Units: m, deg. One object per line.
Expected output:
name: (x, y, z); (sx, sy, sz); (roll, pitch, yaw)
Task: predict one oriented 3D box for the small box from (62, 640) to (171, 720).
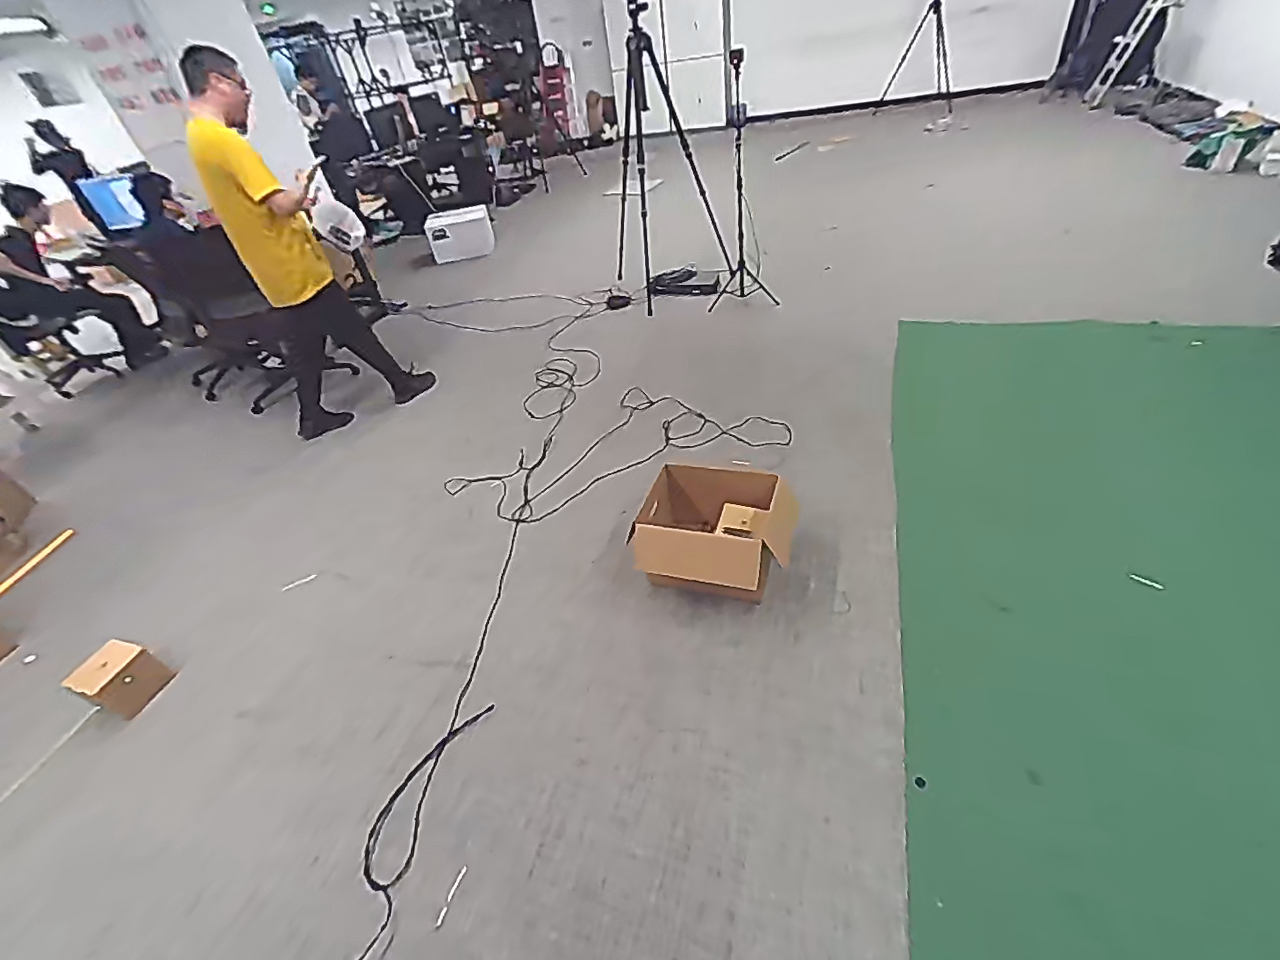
small box: (-1.734, 0.669, 1.809); (0.168, 0.176, 0.179); (6, 44, 18)
